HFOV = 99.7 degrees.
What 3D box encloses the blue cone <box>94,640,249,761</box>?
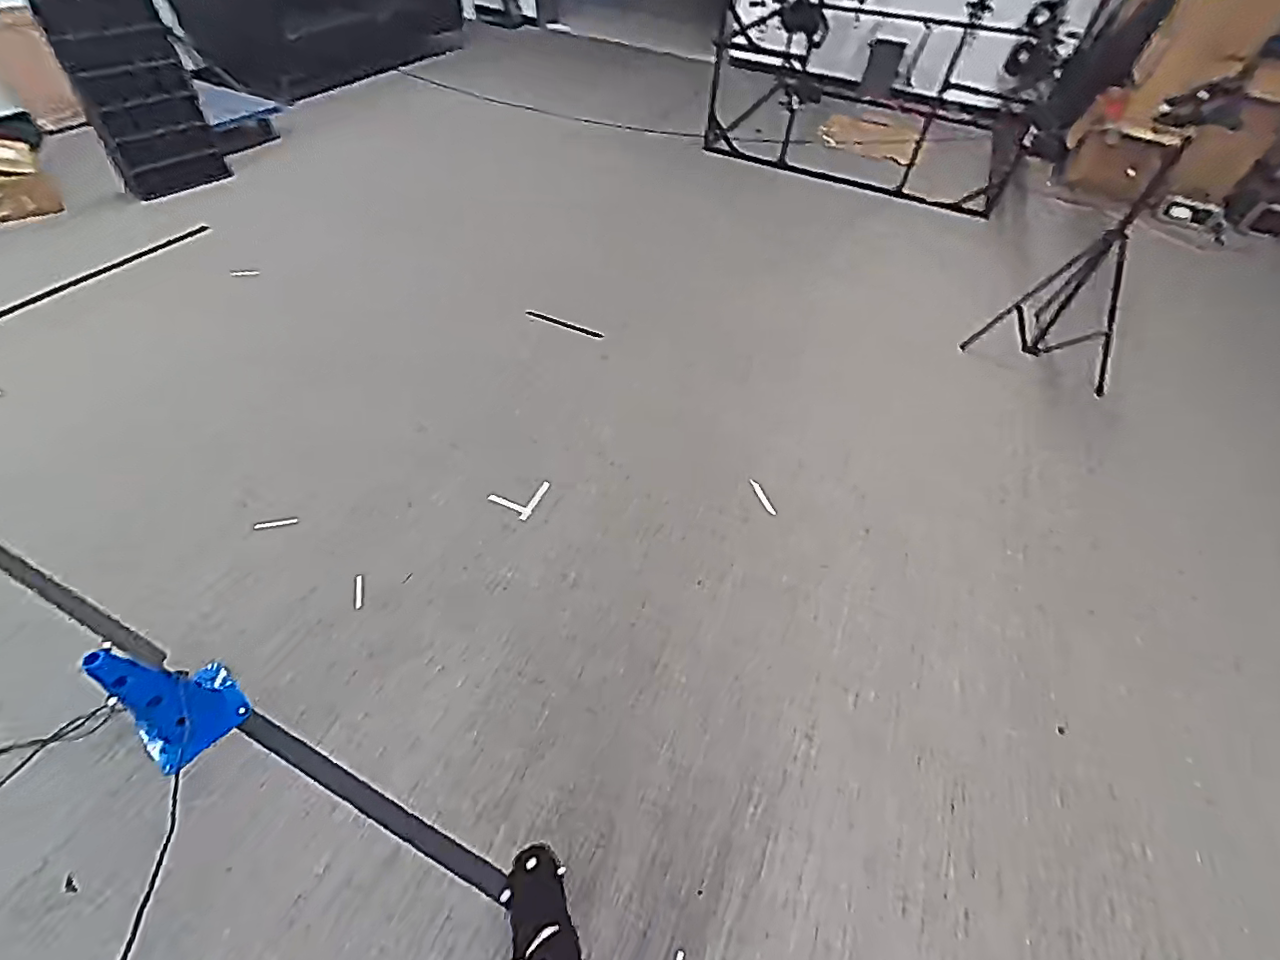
[{"bbox_3d":[-1.079,0.457,1.201,0.193,0.380,0.192,36,55,23],"label":"blue cone"}]
